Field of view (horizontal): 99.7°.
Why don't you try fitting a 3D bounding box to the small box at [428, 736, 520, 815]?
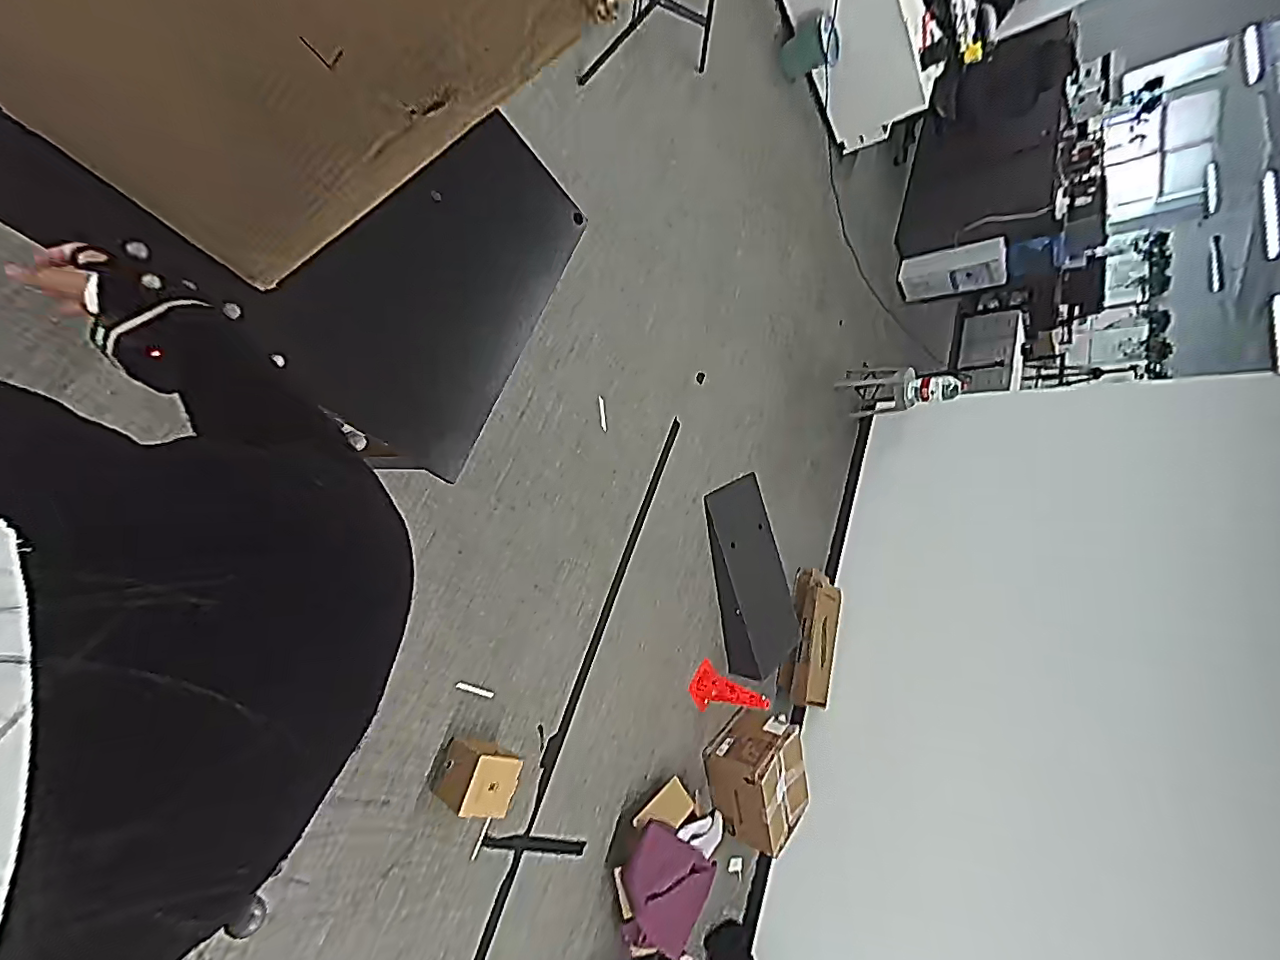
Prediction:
[{"bbox_3d":[-0.509,0.903,1.656,0.179,0.176,0.168,36,64,-42],"label":"small box"}]
